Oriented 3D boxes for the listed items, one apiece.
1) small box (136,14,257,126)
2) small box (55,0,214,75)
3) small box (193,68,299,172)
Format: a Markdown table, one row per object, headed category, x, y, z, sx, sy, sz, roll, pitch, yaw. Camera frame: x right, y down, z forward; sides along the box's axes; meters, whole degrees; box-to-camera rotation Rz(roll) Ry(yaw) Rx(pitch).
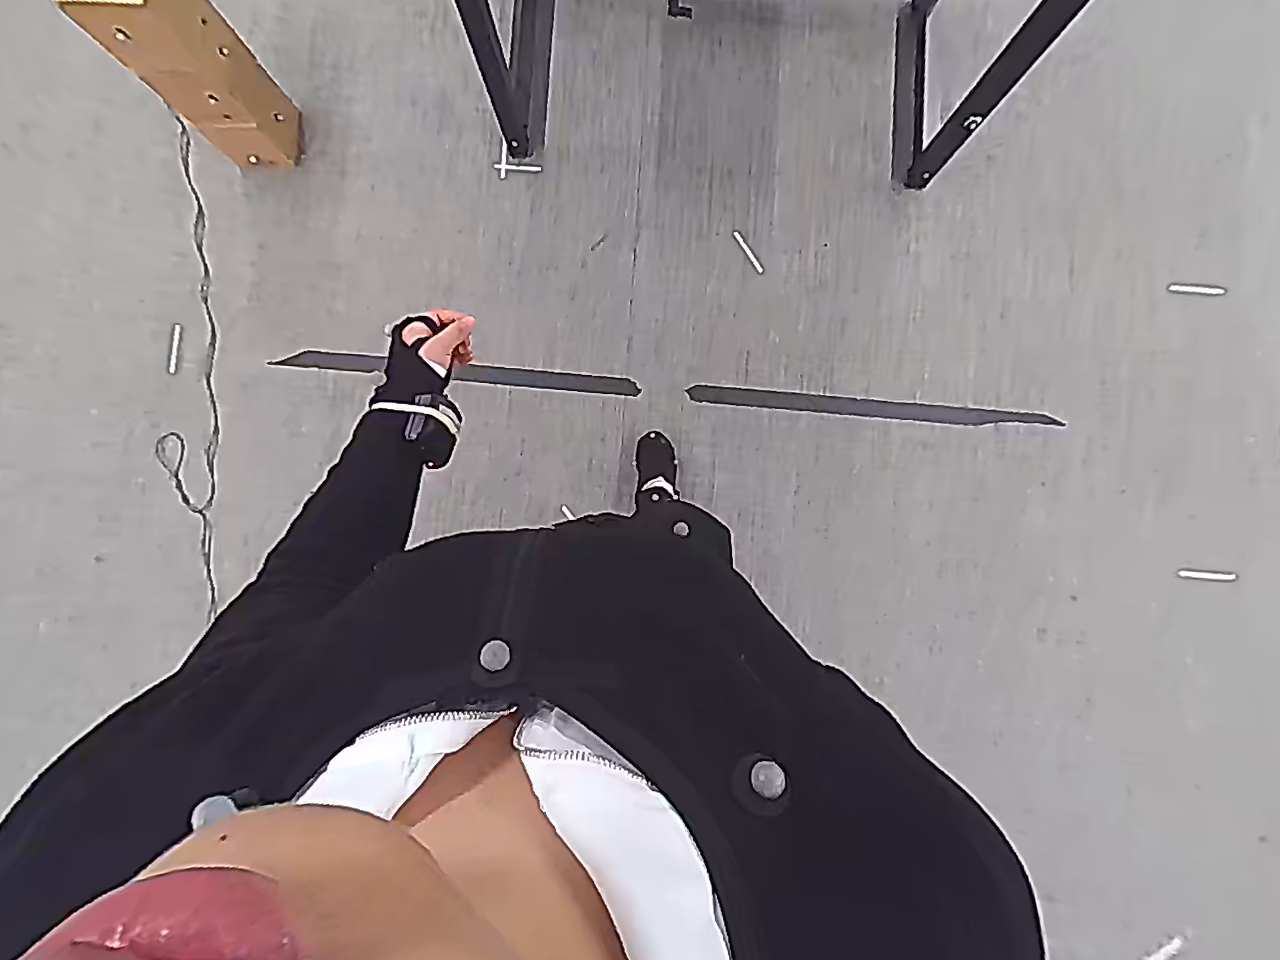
| category | x | y | z | sx | sy | sz | roll | pitch | yaw |
| --- | --- | --- | --- | --- | --- | --- | --- | --- | --- |
| small box | -1.059 | -0.988 | 1.302 | 0.168 | 0.176 | 0.179 | -3 | 85 | -2 |
| small box | -1.053 | -0.995 | 1.139 | 0.179 | 0.176 | 0.168 | 0 | 87 | 0 |
| small box | -1.057 | -0.973 | 1.464 | 0.168 | 0.176 | 0.179 | 0 | 87 | 0 |
